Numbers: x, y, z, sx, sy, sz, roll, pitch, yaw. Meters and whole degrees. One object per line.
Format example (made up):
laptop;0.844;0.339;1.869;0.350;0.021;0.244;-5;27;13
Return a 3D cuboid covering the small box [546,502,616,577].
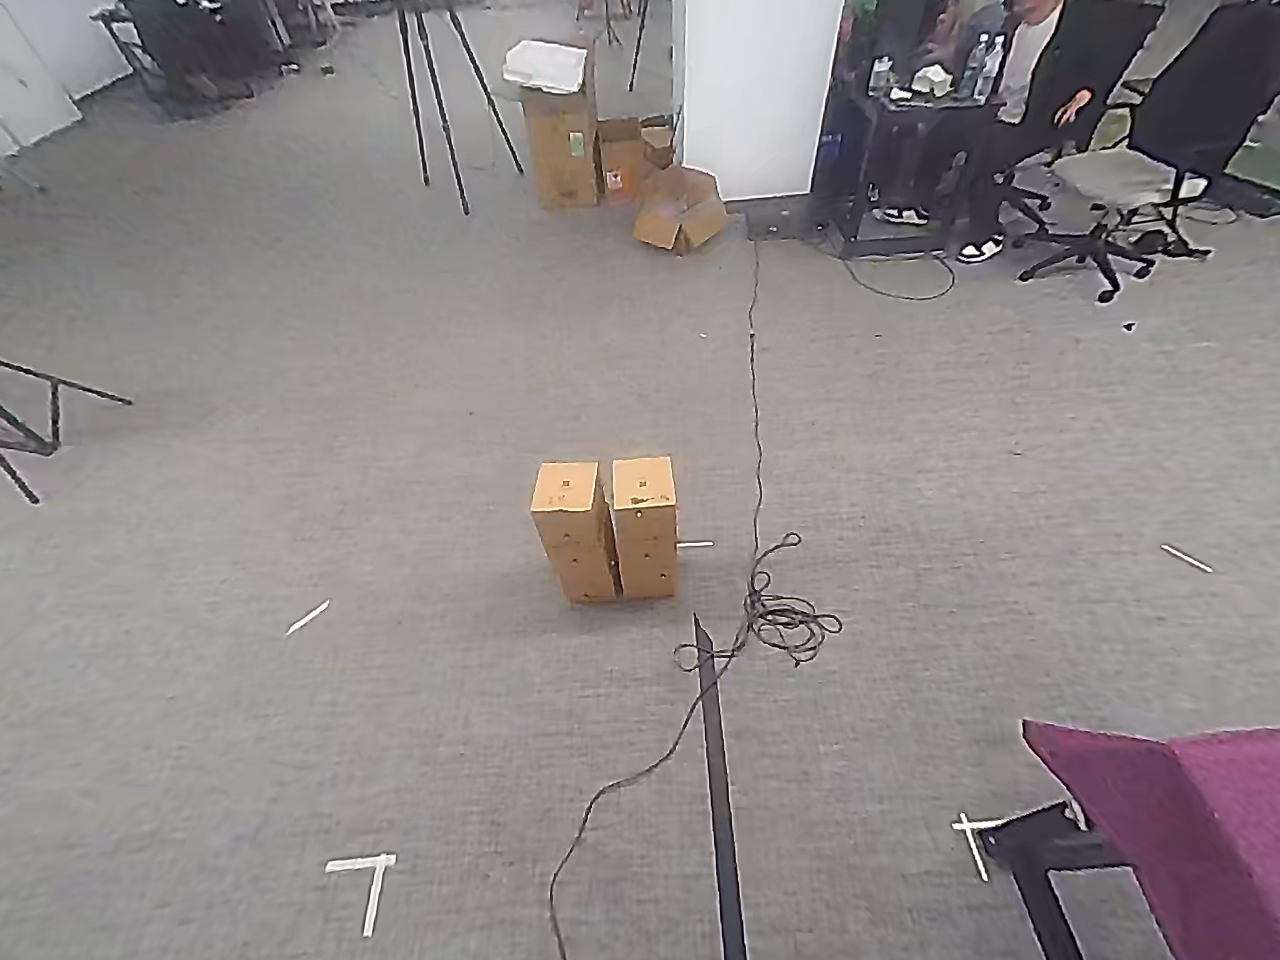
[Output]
small box;-0.170;0.183;1.643;0.179;0.176;0.168;-2;50;7
